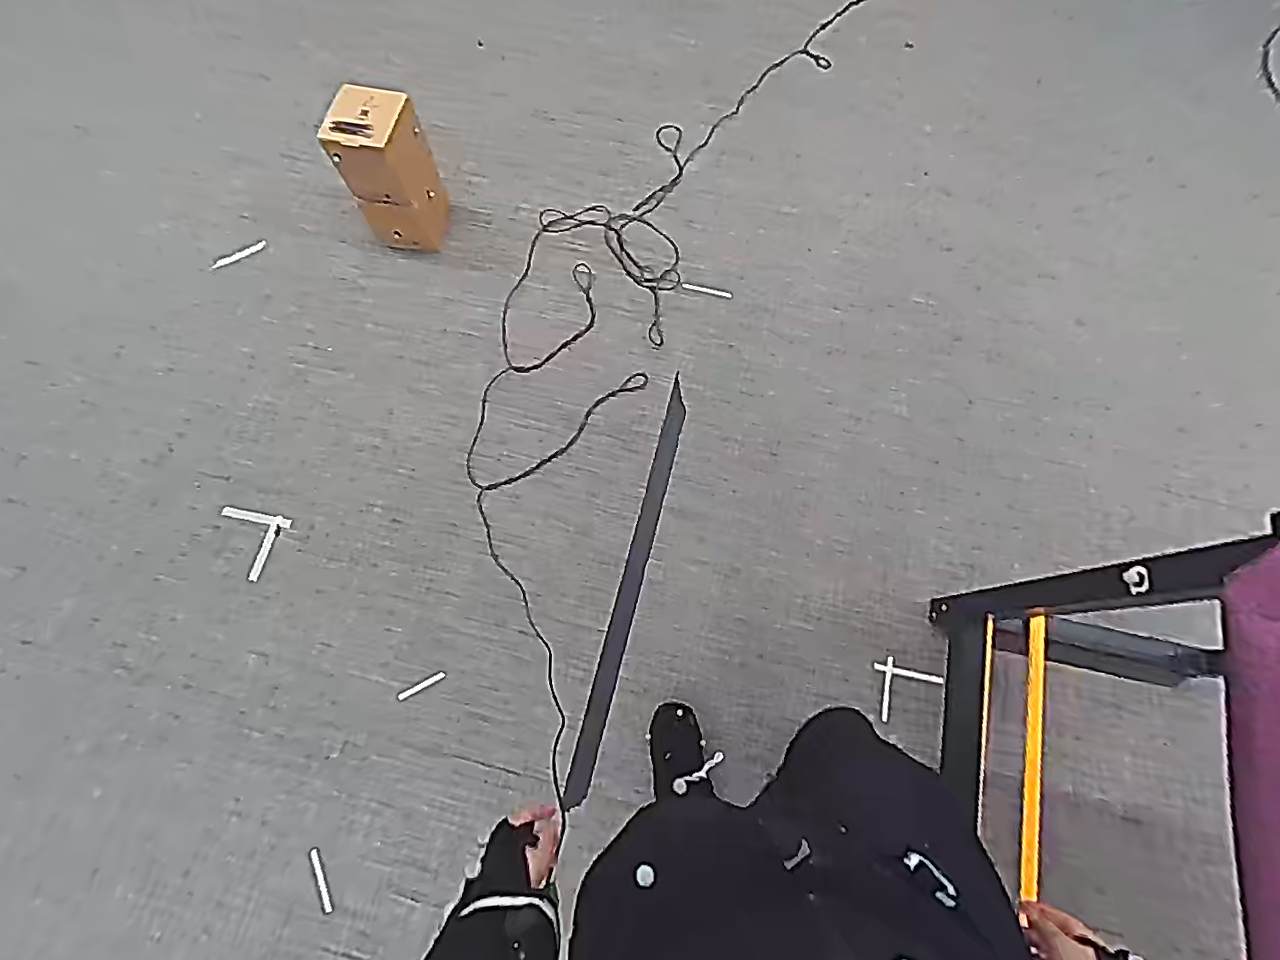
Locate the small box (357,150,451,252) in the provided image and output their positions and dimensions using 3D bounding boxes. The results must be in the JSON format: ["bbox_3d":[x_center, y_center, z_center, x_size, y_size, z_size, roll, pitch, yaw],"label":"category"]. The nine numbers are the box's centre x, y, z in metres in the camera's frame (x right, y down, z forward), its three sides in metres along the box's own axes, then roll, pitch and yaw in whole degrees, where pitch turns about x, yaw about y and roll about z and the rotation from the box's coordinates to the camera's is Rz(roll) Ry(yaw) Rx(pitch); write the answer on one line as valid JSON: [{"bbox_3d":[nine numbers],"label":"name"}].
[{"bbox_3d":[-0.637,-0.762,1.485,0.168,0.176,0.179,7,73,3],"label":"small box"}]
